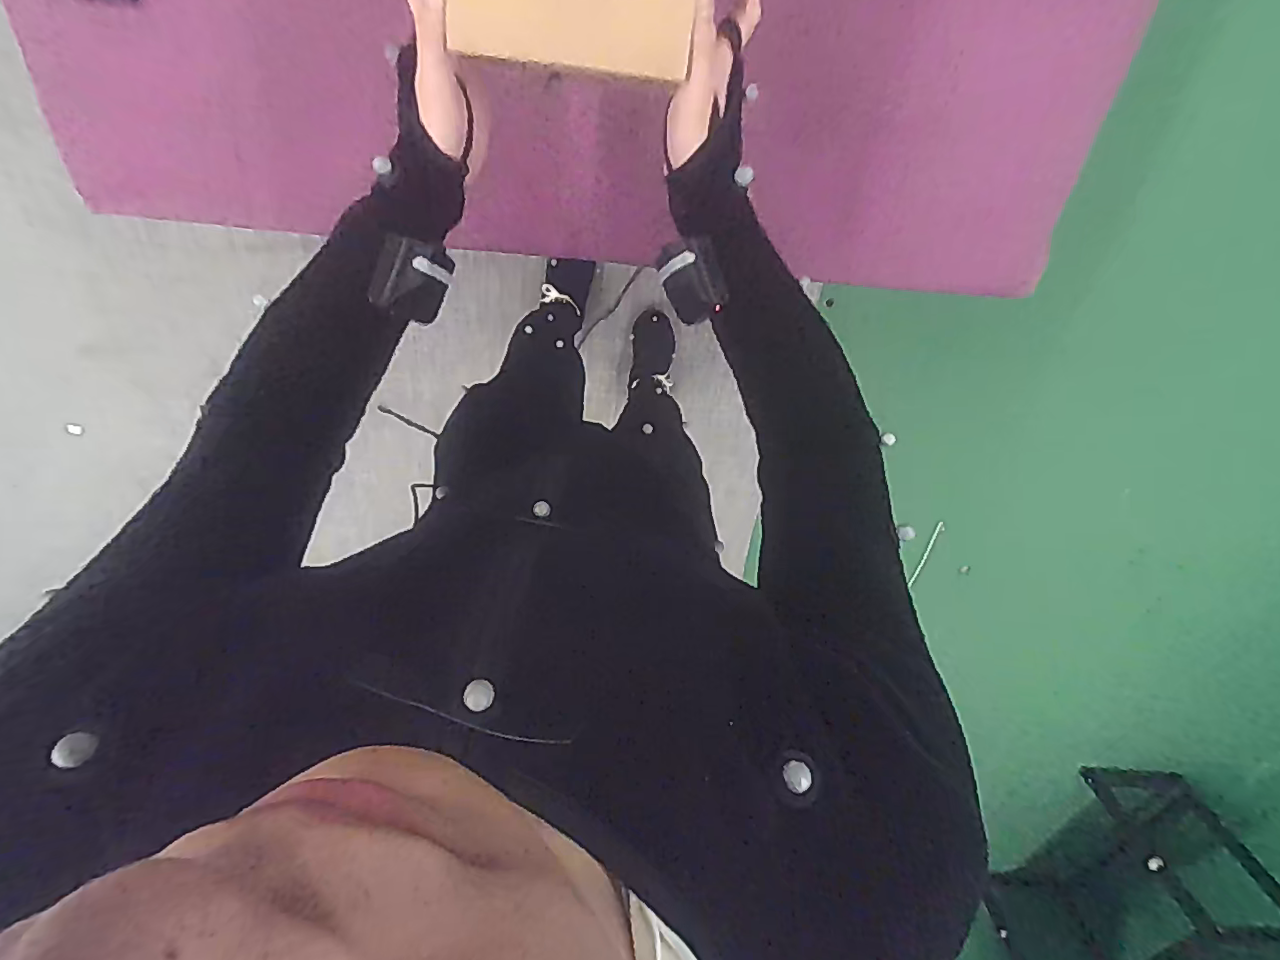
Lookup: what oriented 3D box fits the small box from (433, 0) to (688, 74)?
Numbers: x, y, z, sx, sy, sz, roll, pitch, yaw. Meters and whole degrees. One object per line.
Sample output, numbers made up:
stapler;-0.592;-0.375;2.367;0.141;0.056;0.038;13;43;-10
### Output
small box;-0.048;-0.408;0.379;0.168;0.176;0.179;3;124;-6
